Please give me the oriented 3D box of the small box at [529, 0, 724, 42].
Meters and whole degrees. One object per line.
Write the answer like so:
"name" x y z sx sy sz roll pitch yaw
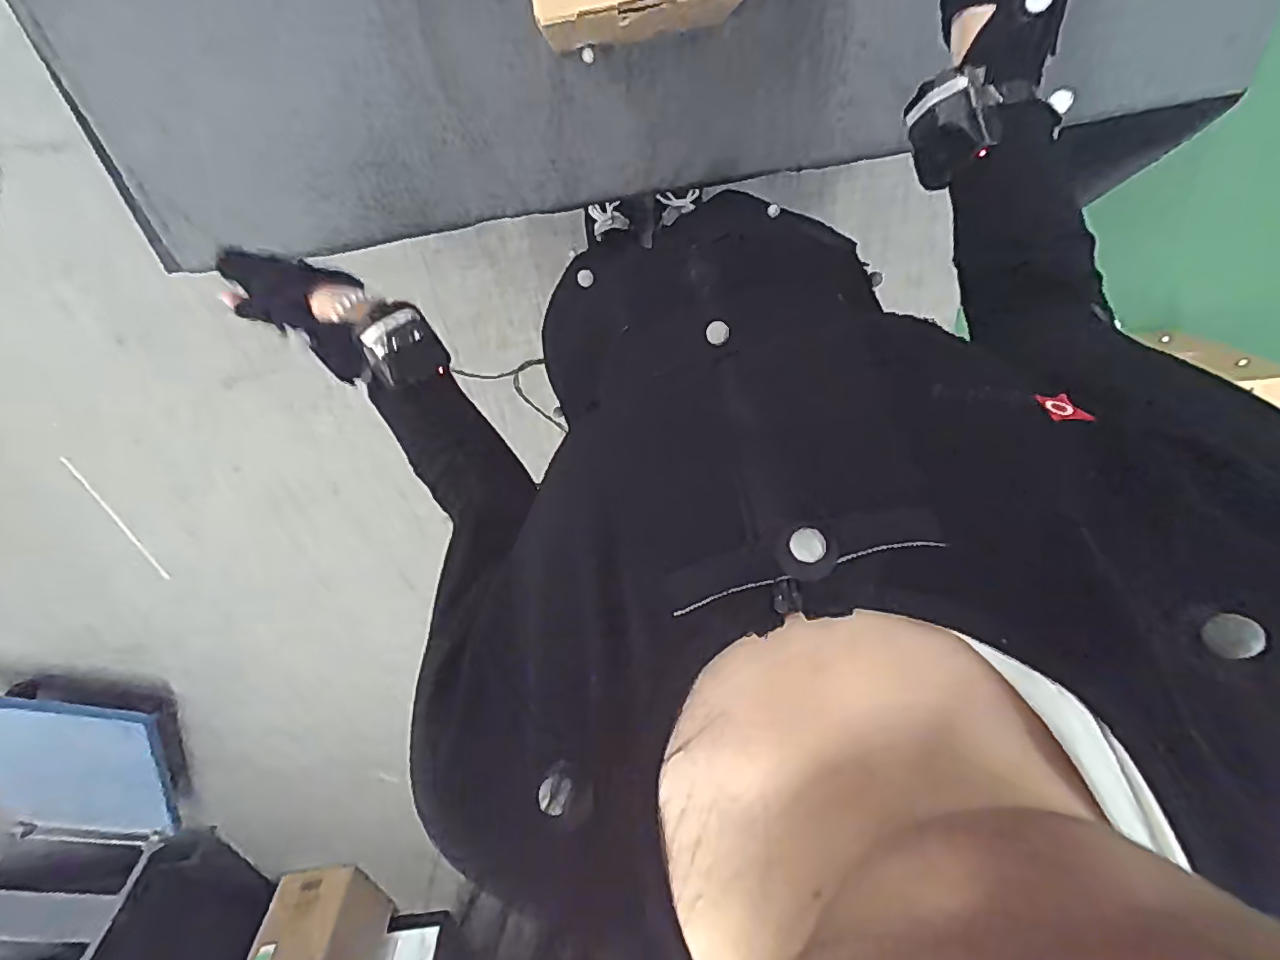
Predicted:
"small box" -0.014 -0.466 0.419 0.168 0.176 0.179 -9 122 3
